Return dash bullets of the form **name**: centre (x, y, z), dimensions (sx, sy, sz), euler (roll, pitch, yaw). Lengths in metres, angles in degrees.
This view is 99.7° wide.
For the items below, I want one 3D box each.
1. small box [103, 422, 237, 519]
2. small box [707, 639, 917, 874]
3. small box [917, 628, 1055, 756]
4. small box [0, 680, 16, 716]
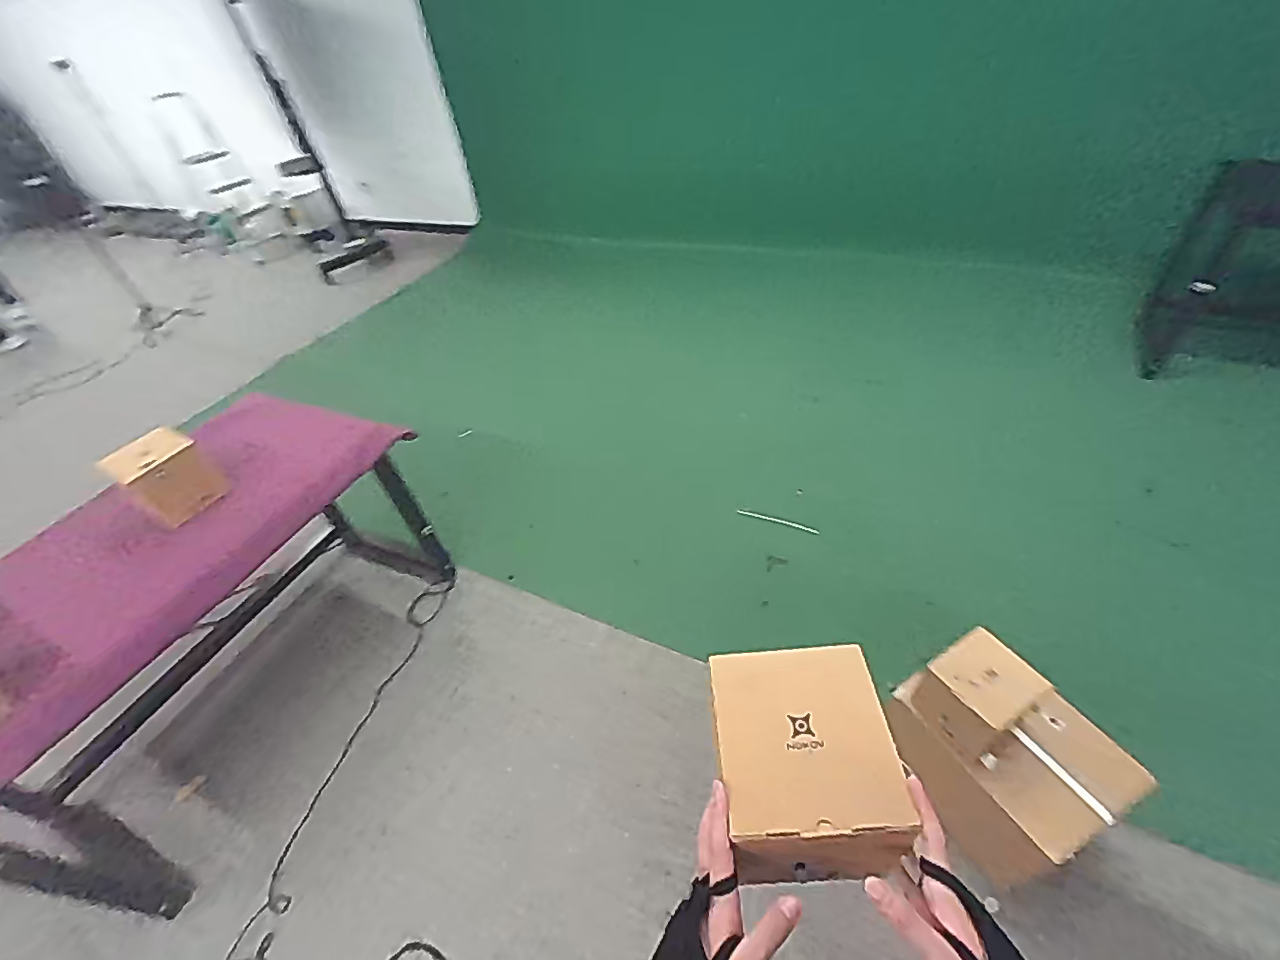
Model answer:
- **small box**: centre (-1.219, -0.024, 1.413), dimensions (0.179, 0.176, 0.168), euler (18, 50, 26)
- **small box**: centre (0.163, 0.296, 0.581), dimensions (0.168, 0.176, 0.179), euler (-6, 43, 3)
- **small box**: centre (0.745, 0.466, 1.187), dimensions (0.179, 0.176, 0.168), euler (-26, 46, -15)
- **small box**: centre (-1.325, 0.405, 0.984), dimensions (0.179, 0.176, 0.168), euler (14, 48, 23)
